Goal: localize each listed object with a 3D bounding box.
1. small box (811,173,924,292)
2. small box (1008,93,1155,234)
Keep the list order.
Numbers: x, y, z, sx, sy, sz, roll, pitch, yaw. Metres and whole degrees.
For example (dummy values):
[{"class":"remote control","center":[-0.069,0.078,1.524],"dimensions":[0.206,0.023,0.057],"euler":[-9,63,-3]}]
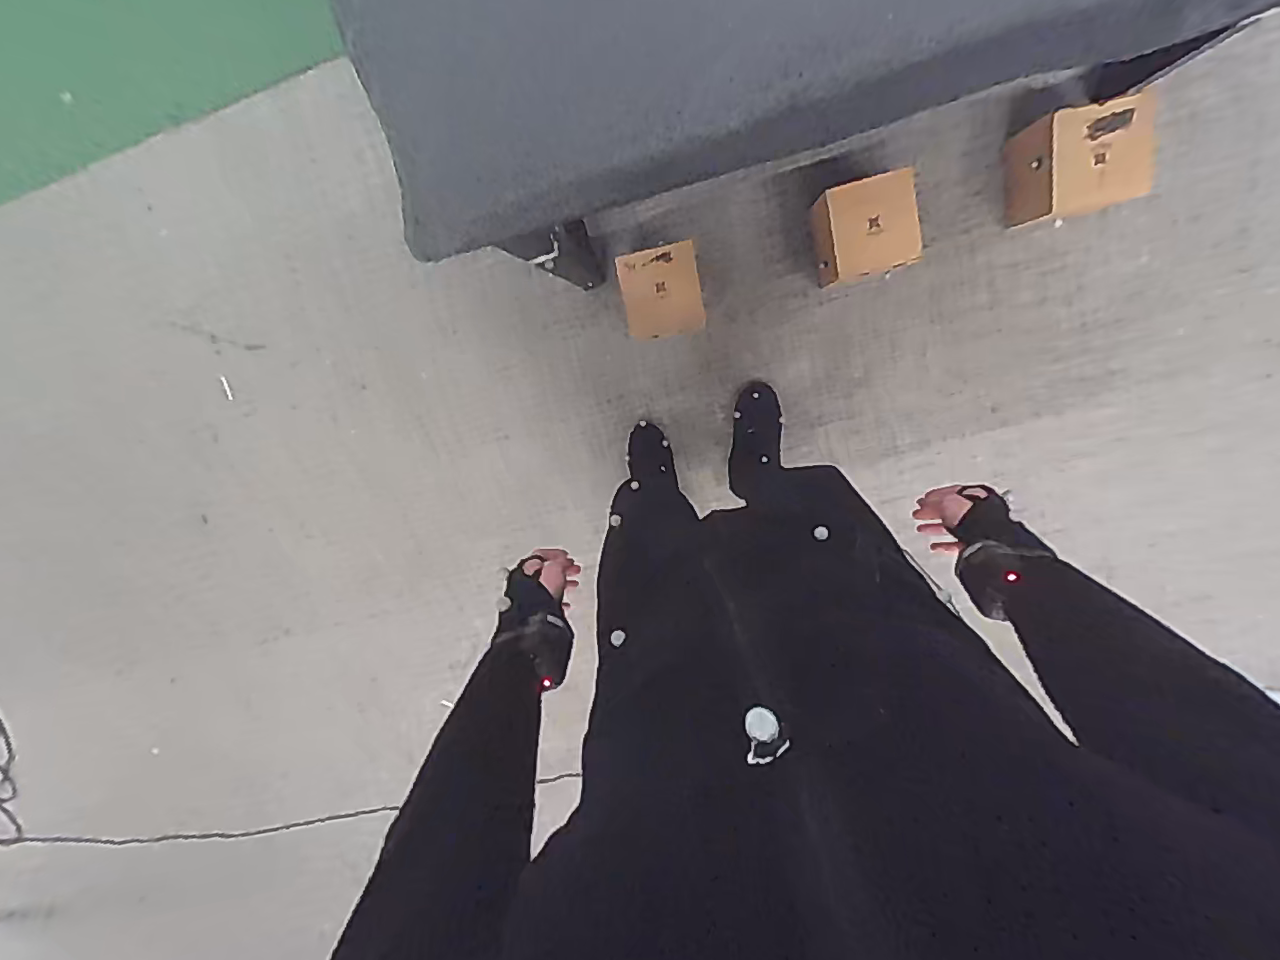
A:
[{"class":"small box","center":[0.471,-0.505,1.138],"dimensions":[0.168,0.176,0.179],"euler":[-13,99,9]},{"class":"small box","center":[0.852,-0.606,1.059],"dimensions":[0.168,0.176,0.179],"euler":[-9,102,10]}]
